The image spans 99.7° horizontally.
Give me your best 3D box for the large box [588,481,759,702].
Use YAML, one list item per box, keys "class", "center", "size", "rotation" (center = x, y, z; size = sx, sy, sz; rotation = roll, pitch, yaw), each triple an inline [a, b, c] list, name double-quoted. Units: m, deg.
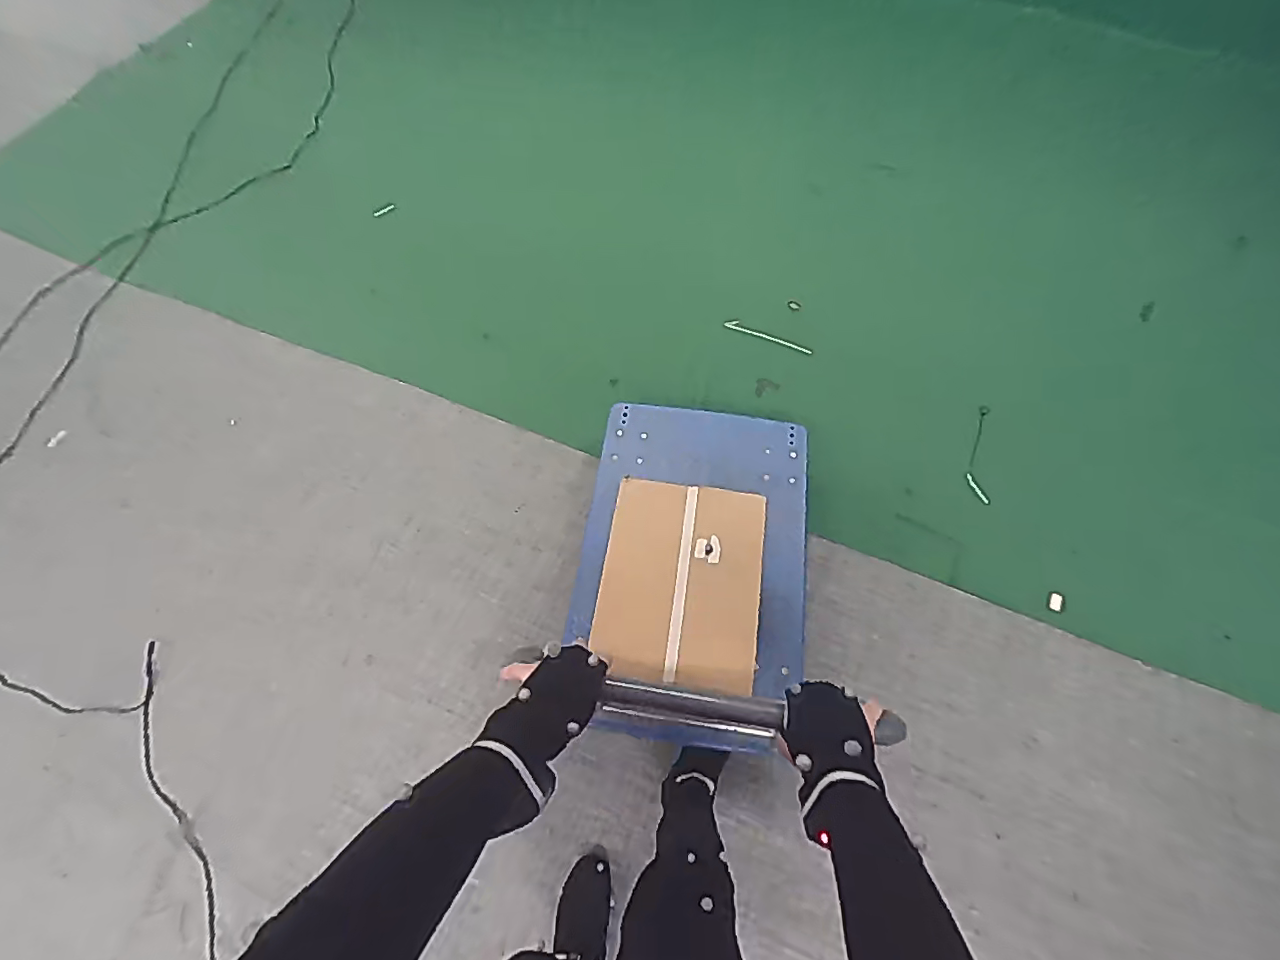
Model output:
- class: "large box"
  center: [0.082, 0.261, 1.222]
  size: [0.320, 0.320, 0.408]
  rotation: [8, 64, 5]
